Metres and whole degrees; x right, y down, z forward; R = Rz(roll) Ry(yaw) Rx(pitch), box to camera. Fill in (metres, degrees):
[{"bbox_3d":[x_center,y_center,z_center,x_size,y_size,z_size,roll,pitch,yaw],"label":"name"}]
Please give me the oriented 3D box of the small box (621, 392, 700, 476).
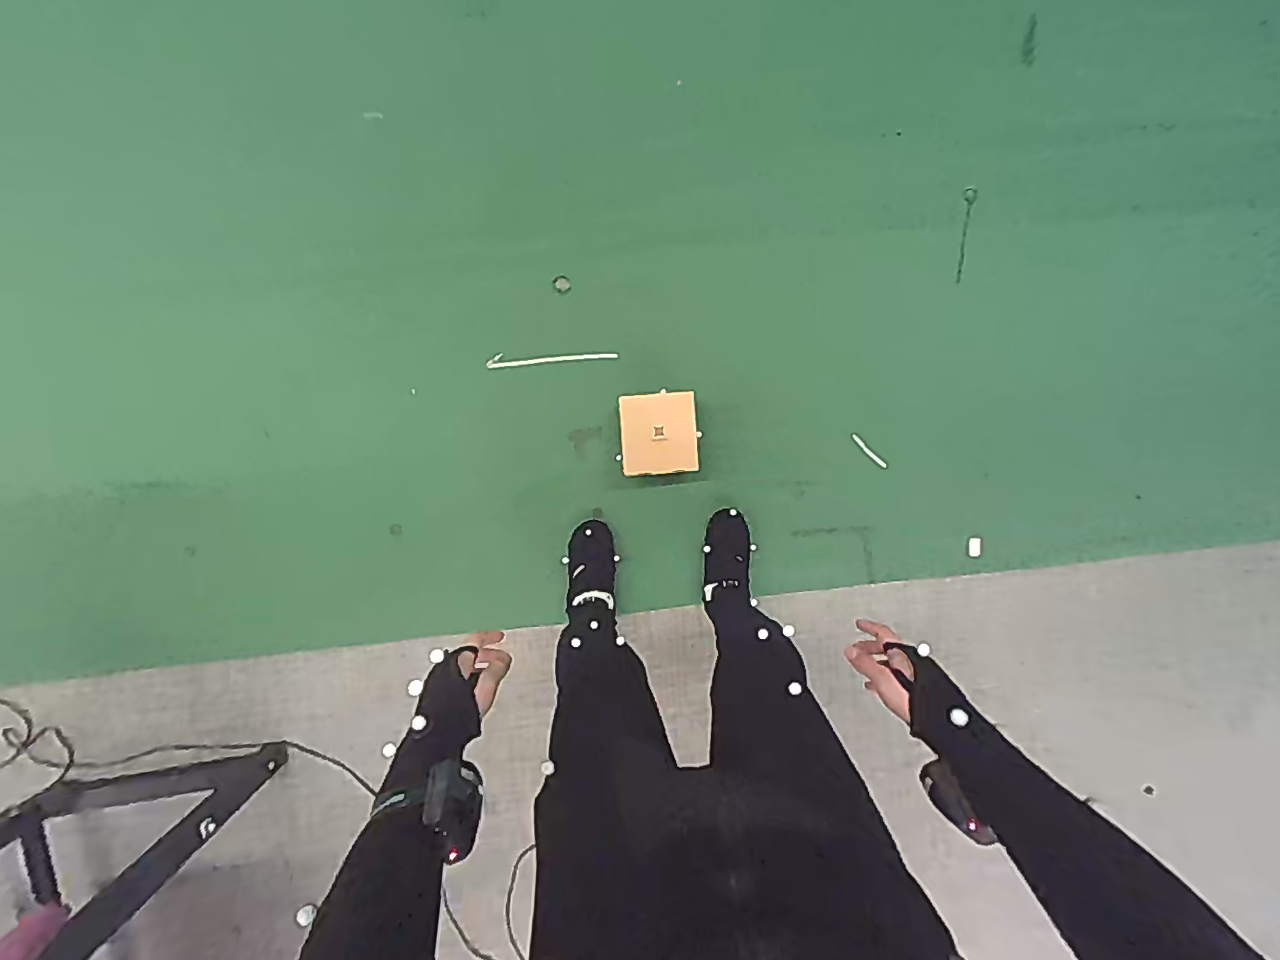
[{"bbox_3d":[0.042,-0.105,1.257,0.168,0.176,0.179,-4,95,-2],"label":"small box"}]
